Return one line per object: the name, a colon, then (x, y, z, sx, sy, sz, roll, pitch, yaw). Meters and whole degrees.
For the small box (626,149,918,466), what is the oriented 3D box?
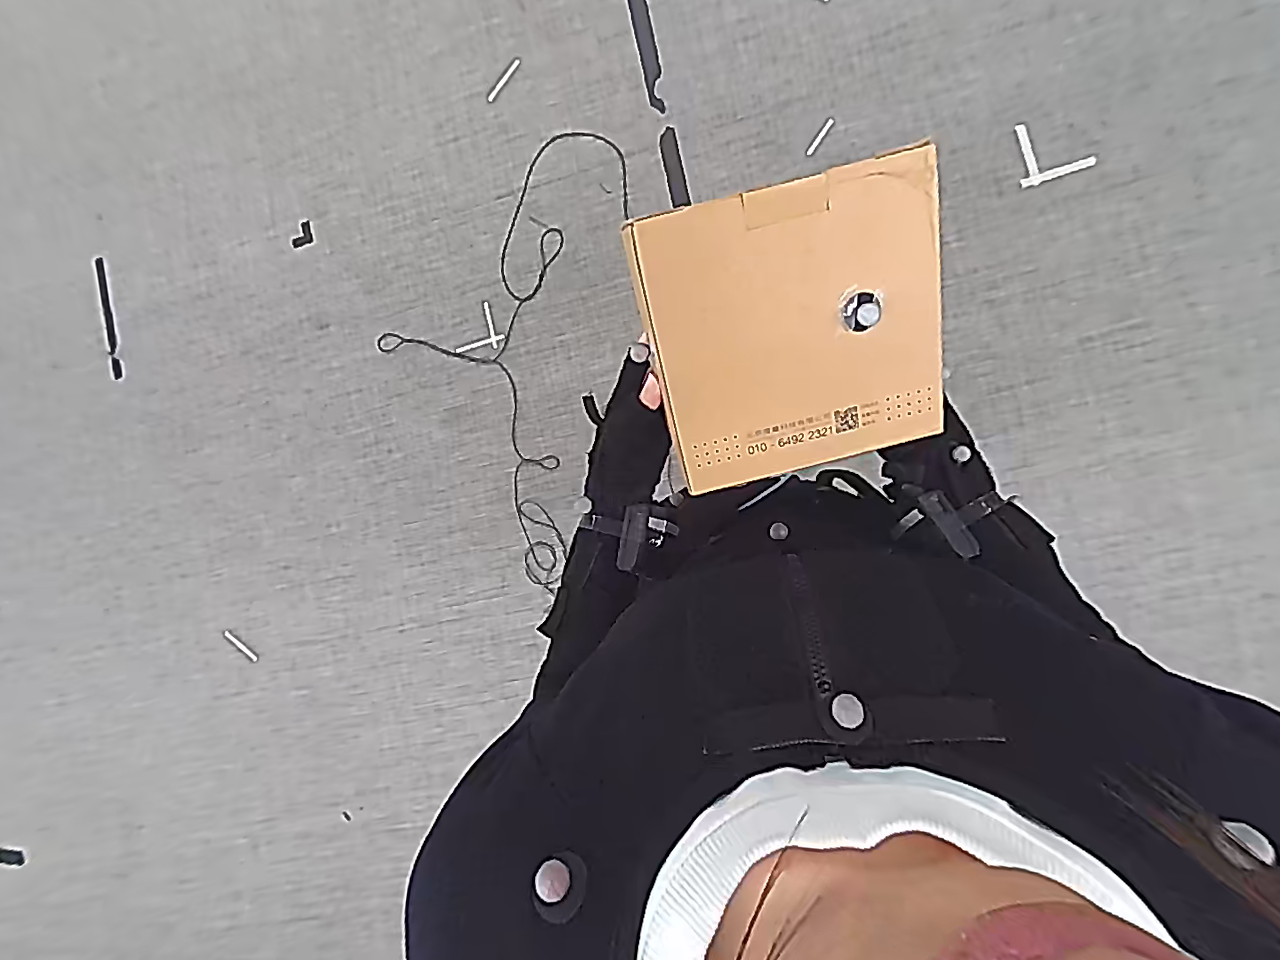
small box: (0.089, -0.122, 0.408, 0.168, 0.179, 0.176, -13, 113, 3)
